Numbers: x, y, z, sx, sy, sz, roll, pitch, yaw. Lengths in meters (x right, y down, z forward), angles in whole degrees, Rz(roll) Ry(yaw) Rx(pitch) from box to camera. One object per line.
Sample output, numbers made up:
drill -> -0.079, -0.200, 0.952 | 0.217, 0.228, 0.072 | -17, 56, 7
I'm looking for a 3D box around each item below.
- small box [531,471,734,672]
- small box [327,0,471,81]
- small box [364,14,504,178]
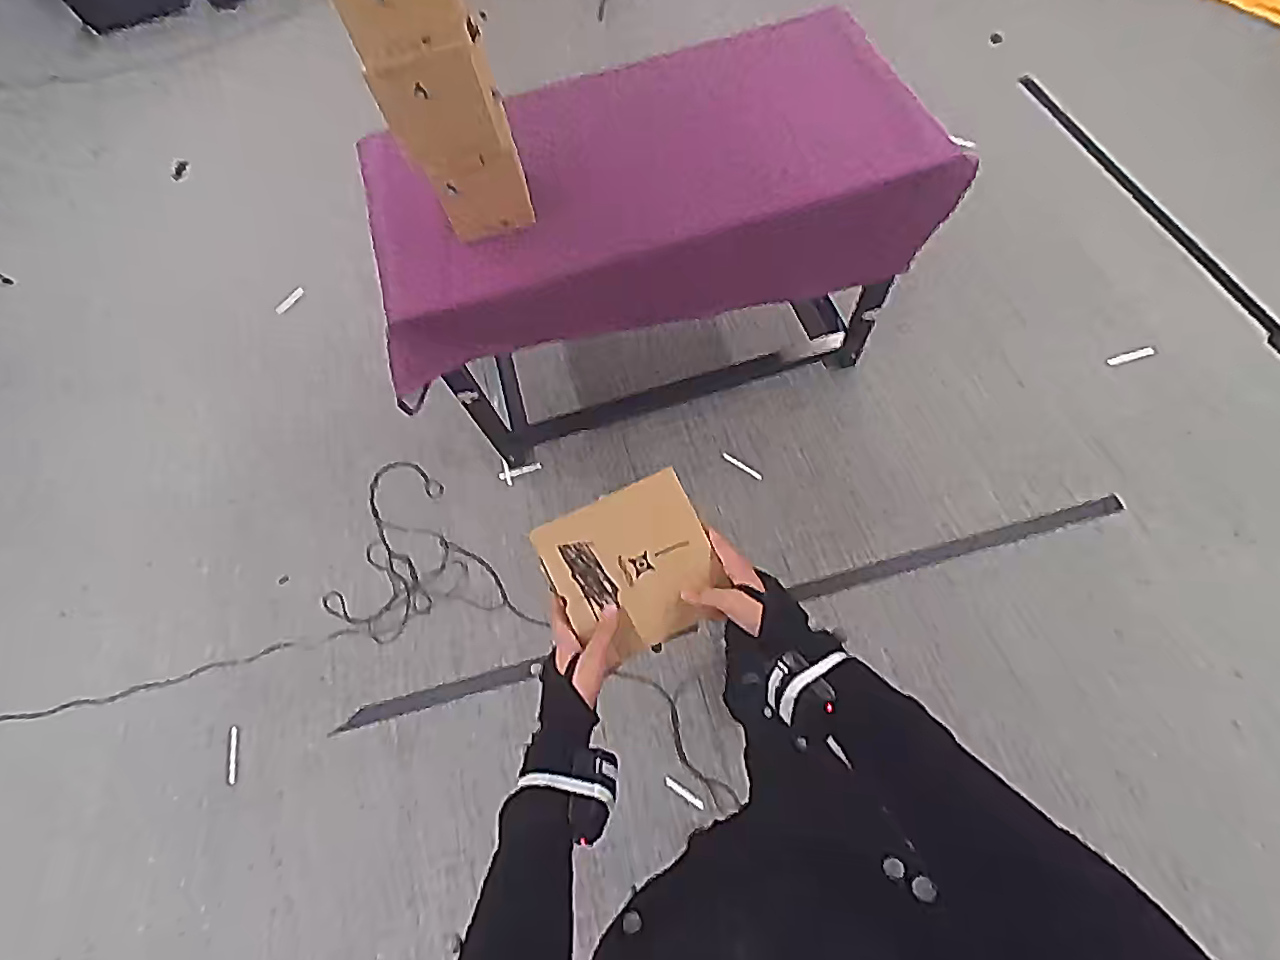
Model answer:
small box -> -0.014, 0.113, 0.662 | 0.179, 0.176, 0.168 | -25, 81, -11
small box -> -0.366, -0.731, 0.805 | 0.168, 0.176, 0.179 | -16, 64, -1
small box -> -0.352, -0.667, 0.954 | 0.179, 0.176, 0.168 | -10, 65, 1
